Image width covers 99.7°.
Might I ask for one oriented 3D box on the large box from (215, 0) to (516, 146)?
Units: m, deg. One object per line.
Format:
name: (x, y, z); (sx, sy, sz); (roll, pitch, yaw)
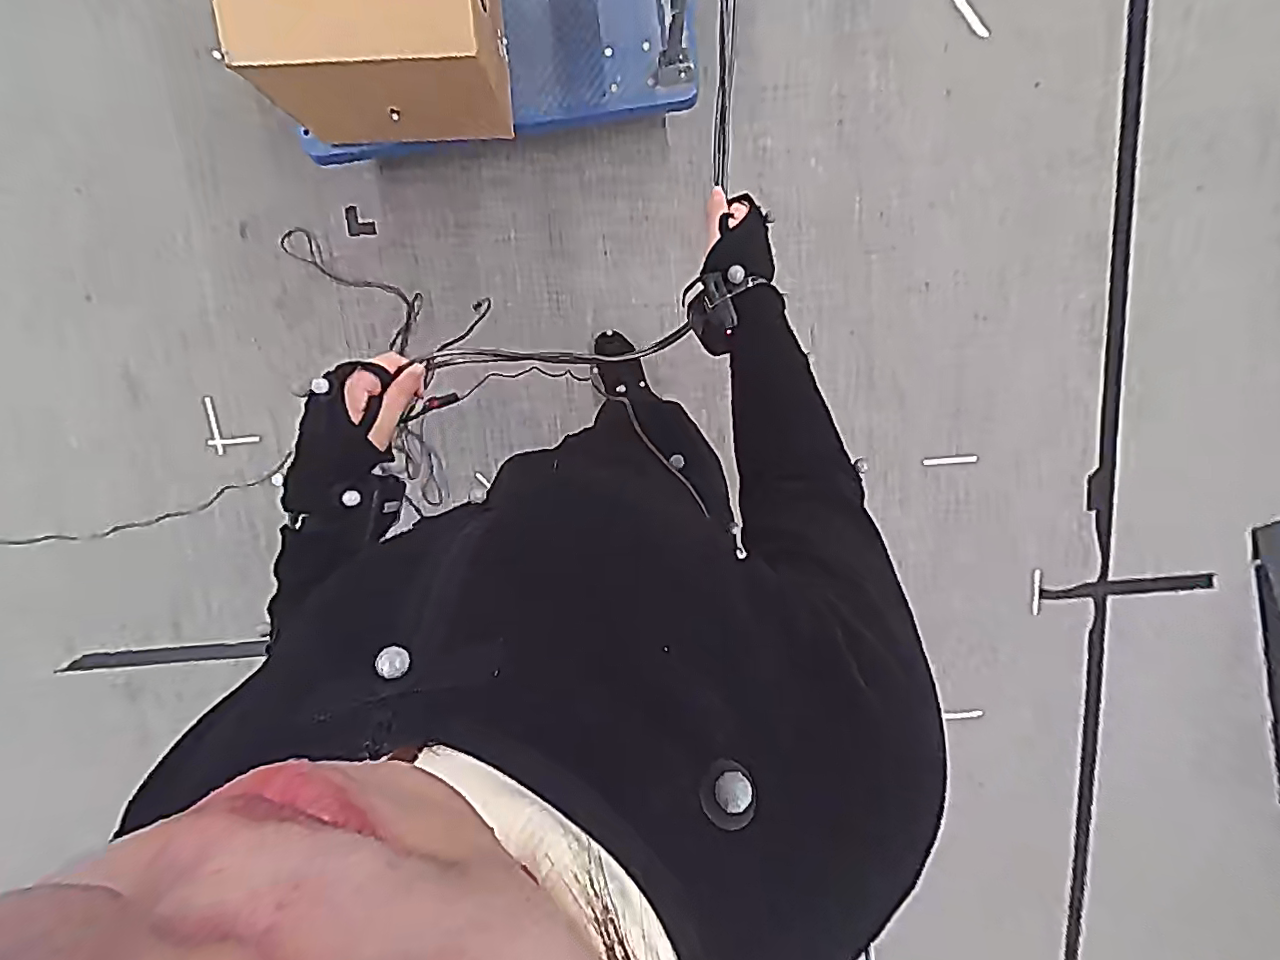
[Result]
large box: (-0.467, -0.840, 0.980); (0.408, 0.320, 0.320); (-3, 100, -1)
